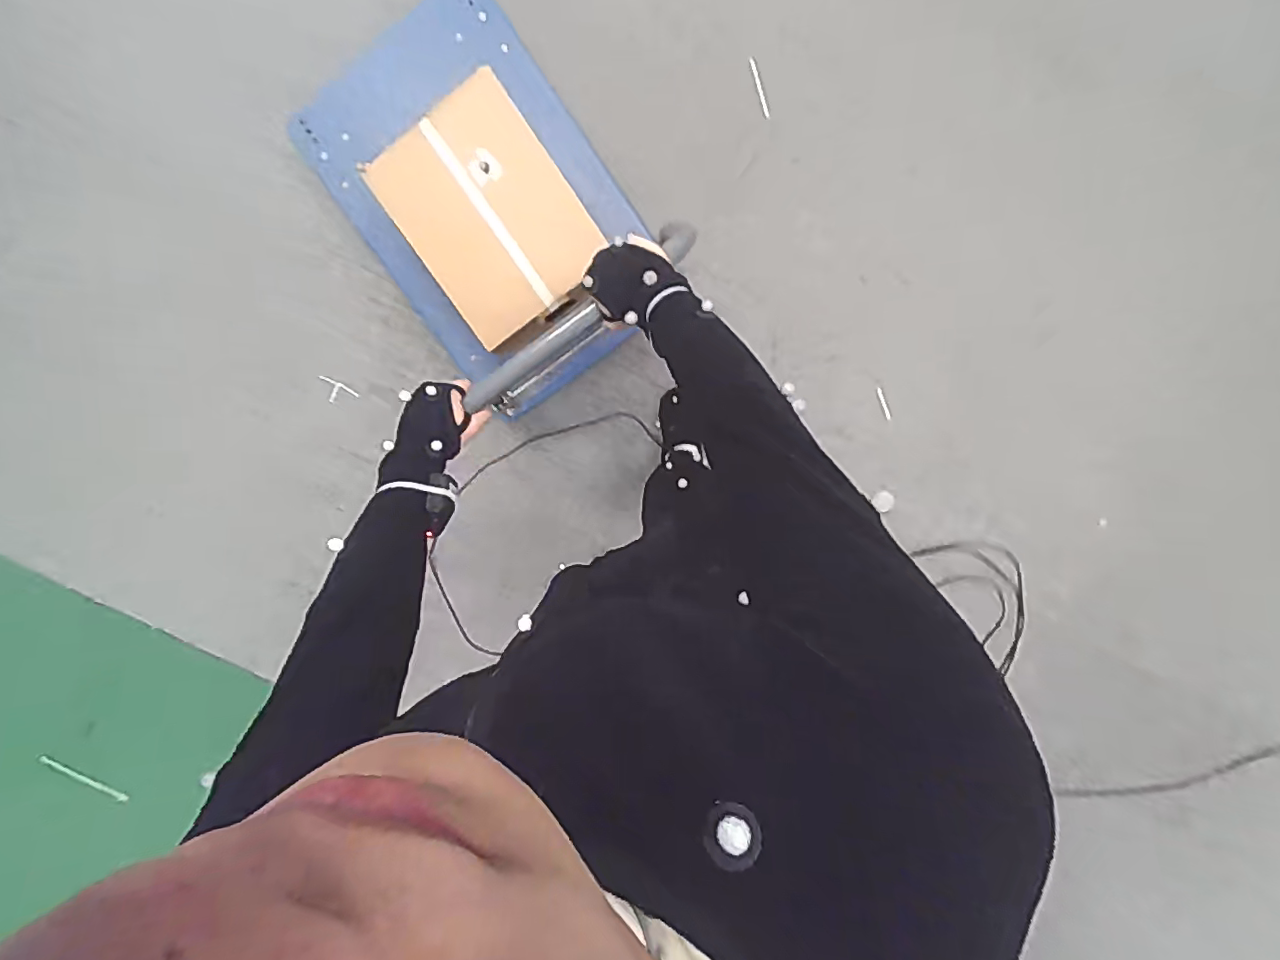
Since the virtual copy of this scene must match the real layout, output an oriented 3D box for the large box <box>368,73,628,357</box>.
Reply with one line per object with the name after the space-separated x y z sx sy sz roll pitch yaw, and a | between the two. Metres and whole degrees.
-0.271 -0.522 1.168 0.320 0.320 0.408 -35 96 7 | large box
